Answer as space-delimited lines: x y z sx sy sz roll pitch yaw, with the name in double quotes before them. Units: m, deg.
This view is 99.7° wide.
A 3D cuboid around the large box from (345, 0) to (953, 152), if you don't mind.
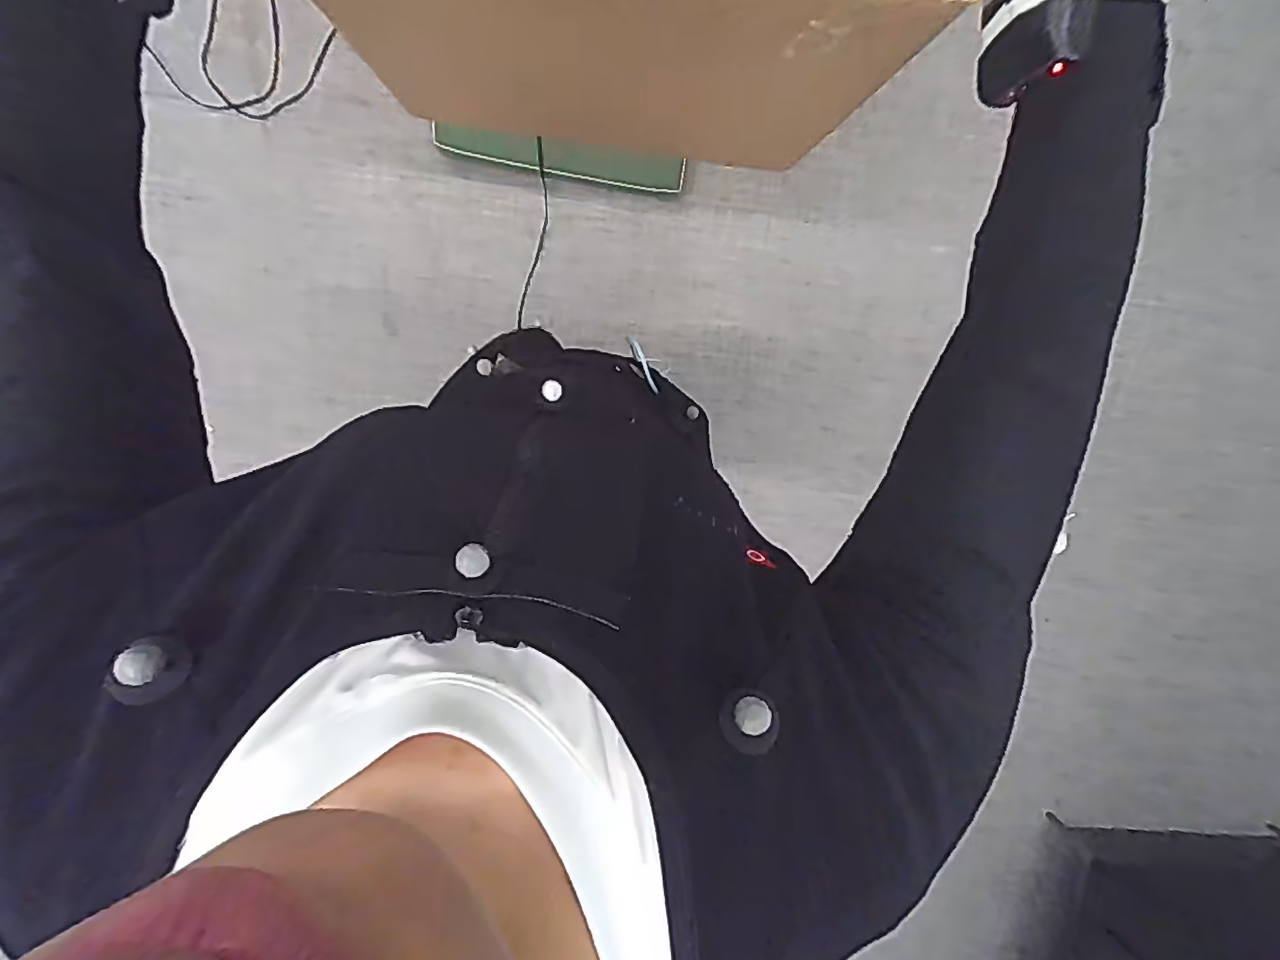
"large box" -0.004 -0.474 0.387 0.408 0.320 0.320 4 105 -7
